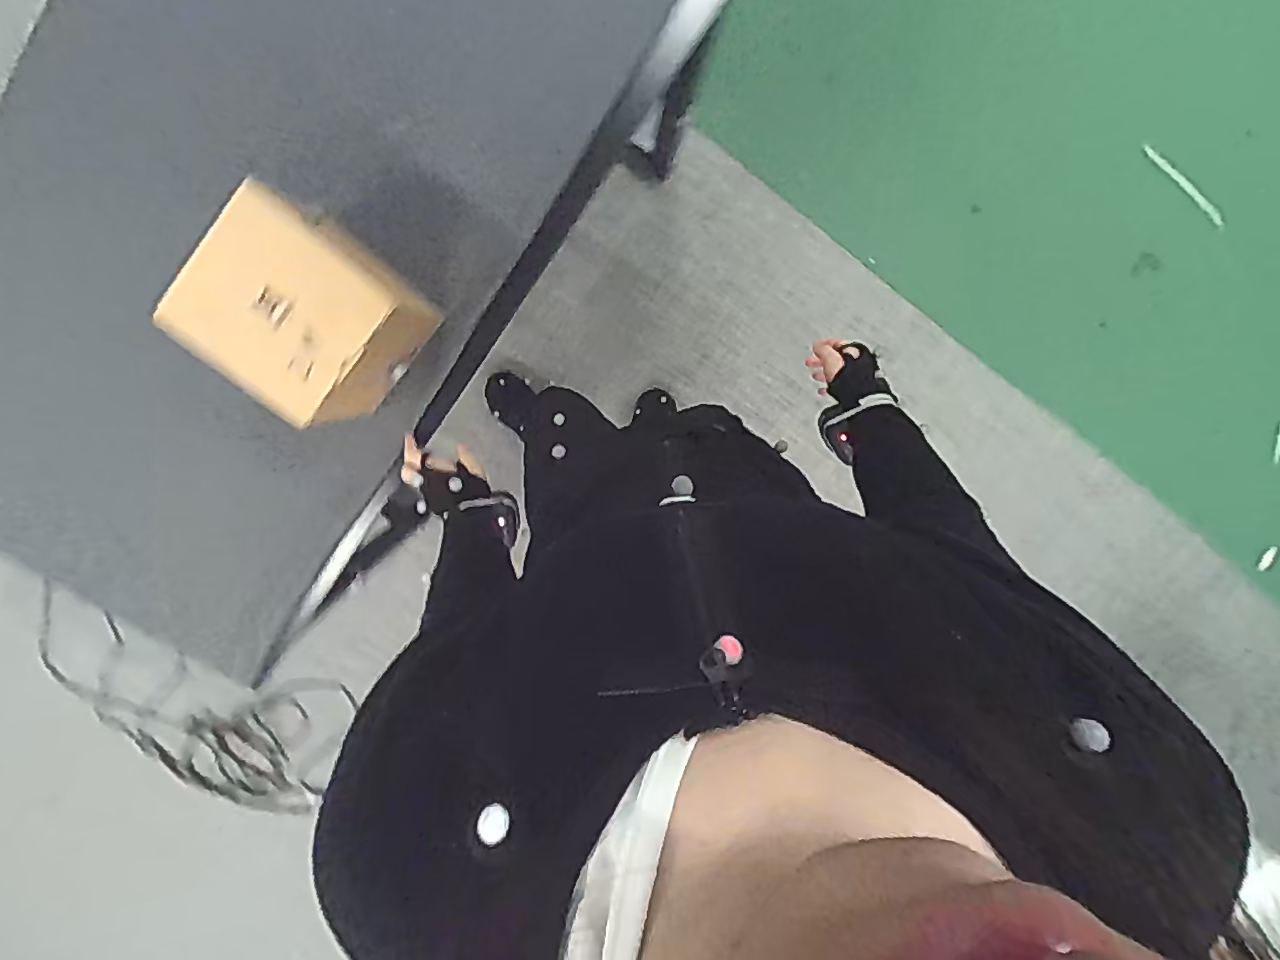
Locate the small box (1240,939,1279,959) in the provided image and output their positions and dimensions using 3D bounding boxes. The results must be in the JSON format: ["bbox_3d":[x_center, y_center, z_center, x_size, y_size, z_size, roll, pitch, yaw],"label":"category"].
[{"bbox_3d":[1.355,1.086,1.088,0.179,0.176,0.168,32,97,-9],"label":"small box"}]

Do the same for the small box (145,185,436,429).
[{"bbox_3d":[-0.366,-0.177,0.604,0.179,0.176,0.168,39,97,-10],"label":"small box"}]
